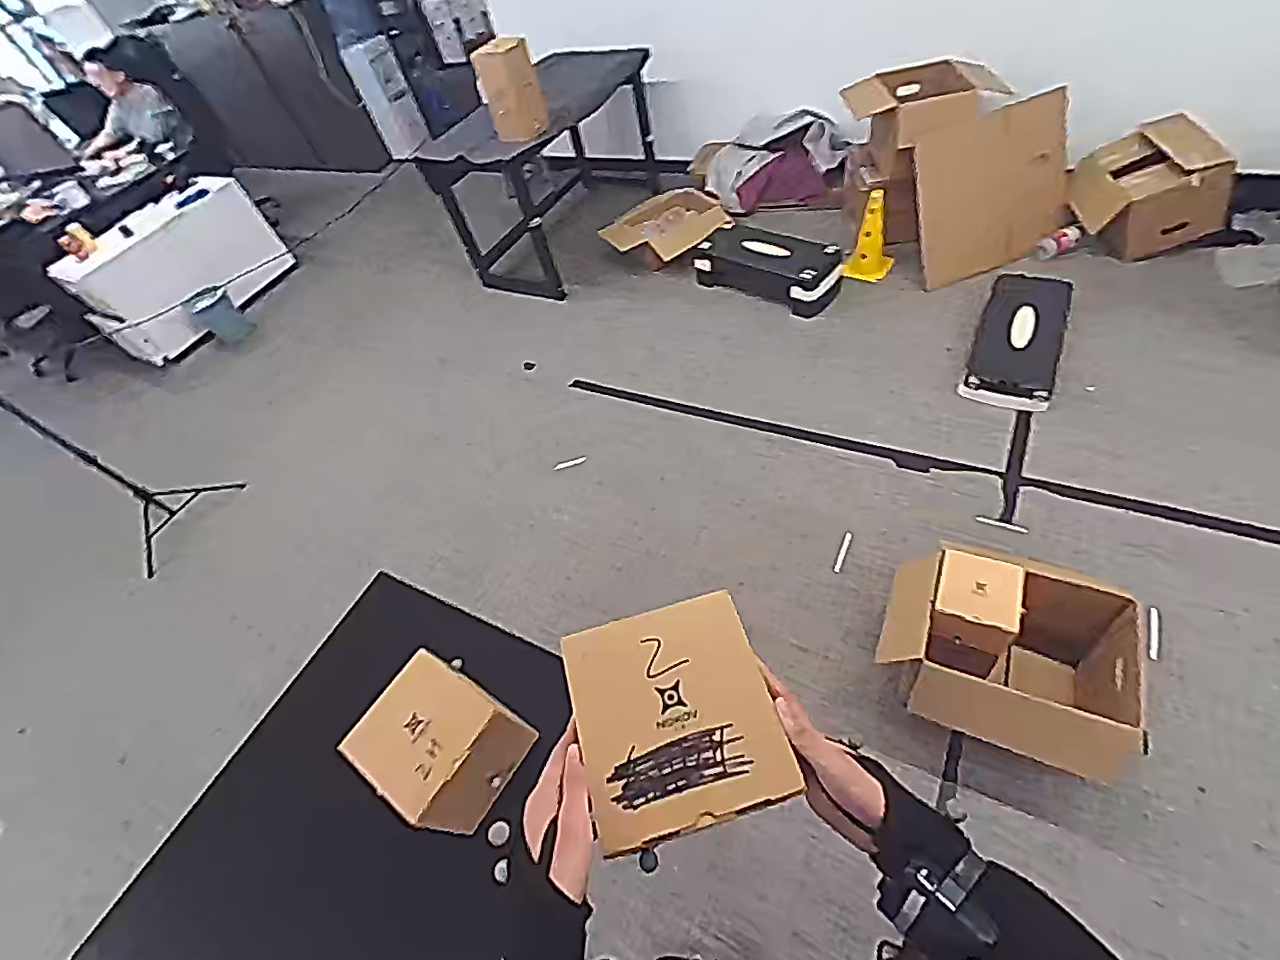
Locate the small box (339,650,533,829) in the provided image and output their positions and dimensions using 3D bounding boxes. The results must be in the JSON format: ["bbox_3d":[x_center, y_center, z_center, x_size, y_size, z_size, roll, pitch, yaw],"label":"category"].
[{"bbox_3d":[-0.294,0.393,0.812,0.179,0.176,0.168,23,63,28],"label":"small box"}]
